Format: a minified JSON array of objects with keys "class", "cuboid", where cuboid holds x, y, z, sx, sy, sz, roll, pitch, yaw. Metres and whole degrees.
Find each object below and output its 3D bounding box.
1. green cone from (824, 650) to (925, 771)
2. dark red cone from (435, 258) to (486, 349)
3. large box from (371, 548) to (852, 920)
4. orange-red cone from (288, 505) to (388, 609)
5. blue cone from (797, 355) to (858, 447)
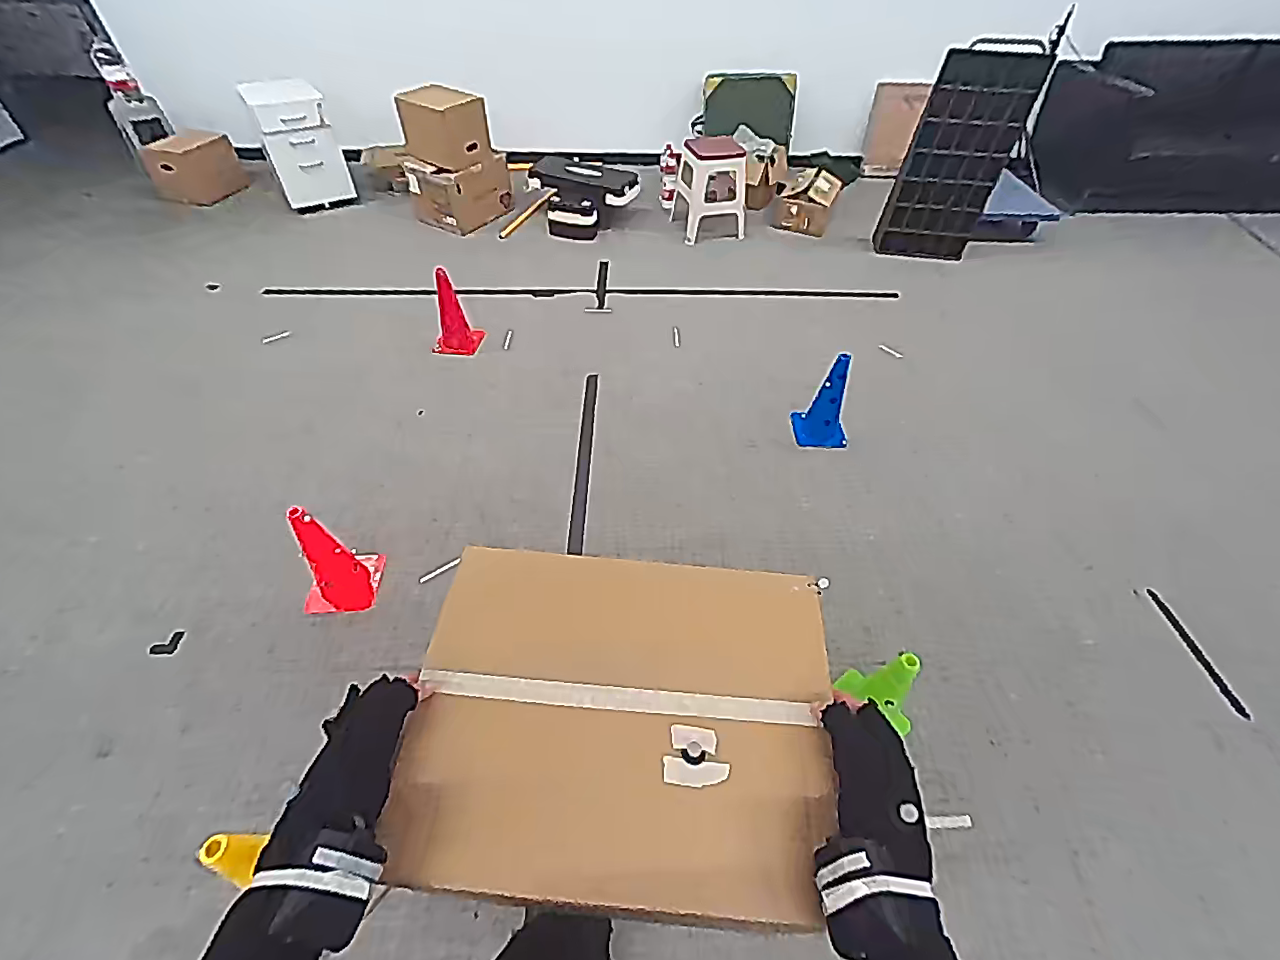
[{"class":"green cone","cuboid":[0.587,0.509,1.293,0.202,0.368,0.200,-28,55,-26]},{"class":"dark red cone","cuboid":[-0.827,-0.783,2.395,0.201,0.394,0.202,6,48,2]},{"class":"large box","cuboid":[-0.022,0.306,0.645,0.408,0.320,0.320,5,50,1]},{"class":"orange-red cone","cuboid":[-0.898,0.197,1.543,0.198,0.360,0.199,-2,49,-2]},{"class":"blue cone","cuboid":[0.739,-0.311,2.058,0.192,0.380,0.193,4,48,1]}]
